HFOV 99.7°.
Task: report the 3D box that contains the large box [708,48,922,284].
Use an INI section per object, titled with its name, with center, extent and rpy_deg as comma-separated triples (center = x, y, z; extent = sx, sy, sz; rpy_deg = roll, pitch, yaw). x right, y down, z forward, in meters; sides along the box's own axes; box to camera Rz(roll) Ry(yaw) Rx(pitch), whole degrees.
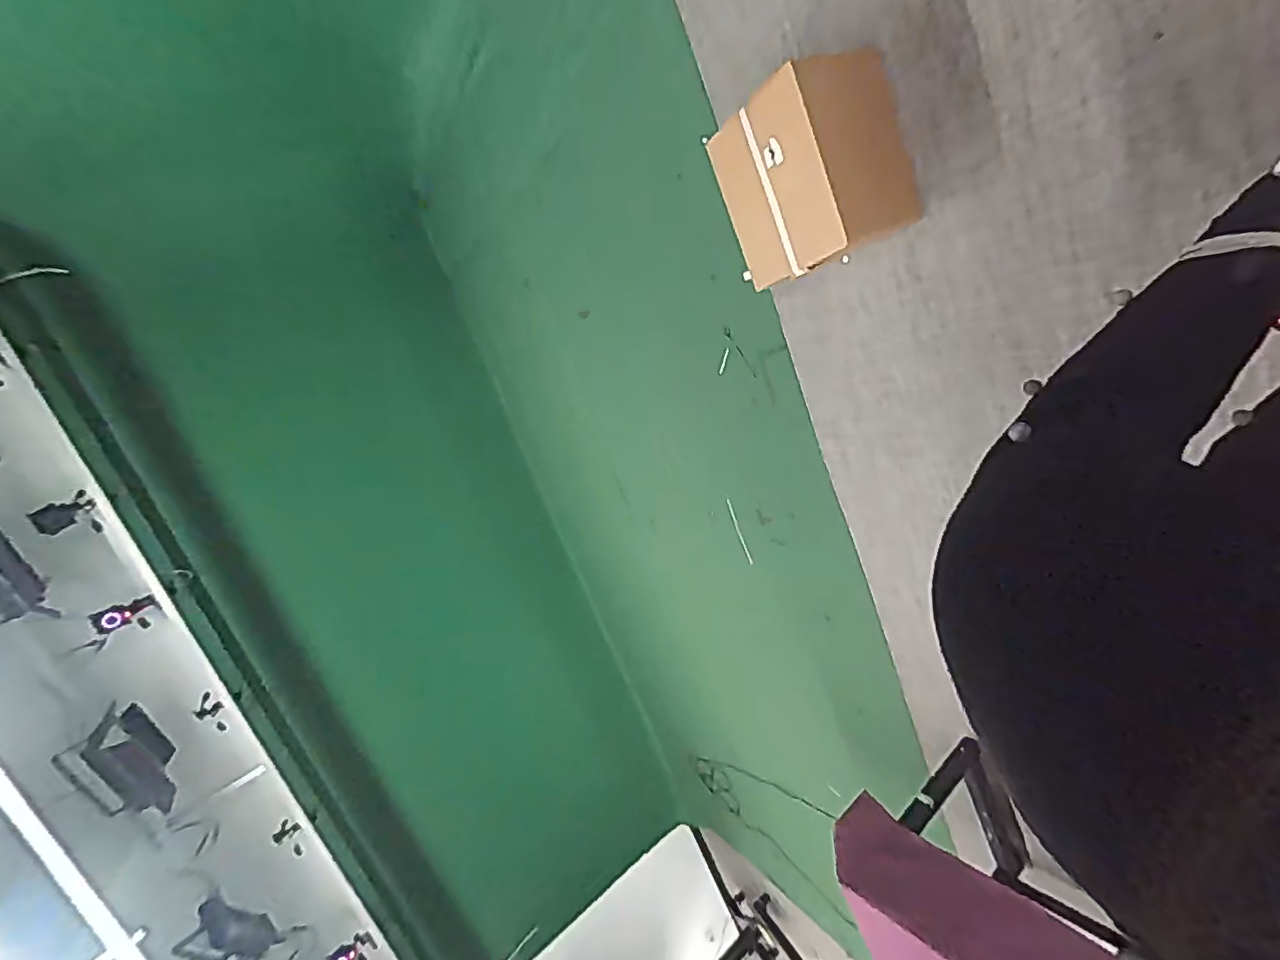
[large box]
center = 0.440, -0.776, 1.372
extent = 0.320, 0.320, 0.408
rpy_deg = -3, 112, 61
